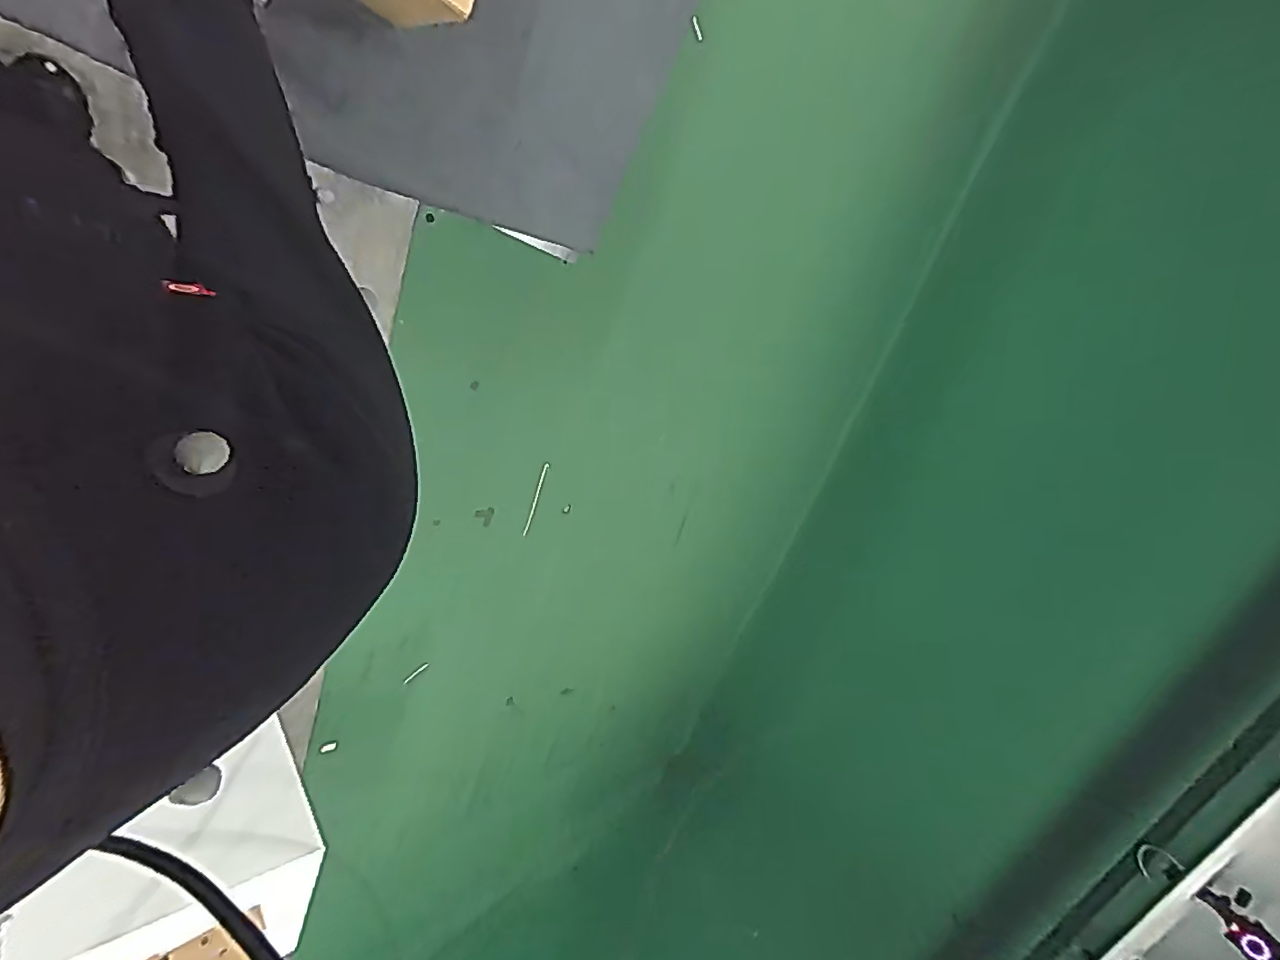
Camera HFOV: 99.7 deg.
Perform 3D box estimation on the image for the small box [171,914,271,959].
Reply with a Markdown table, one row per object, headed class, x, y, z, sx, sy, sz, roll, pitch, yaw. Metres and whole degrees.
| class | x | y | z | sx | sy | sz | roll | pitch | yaw |
| --- | --- | --- | --- | --- | --- | --- | --- | --- | --- |
| small box | -0.916 | 1.120 | 1.188 | 0.168 | 0.176 | 0.179 | -7 | 123 | -45 |
